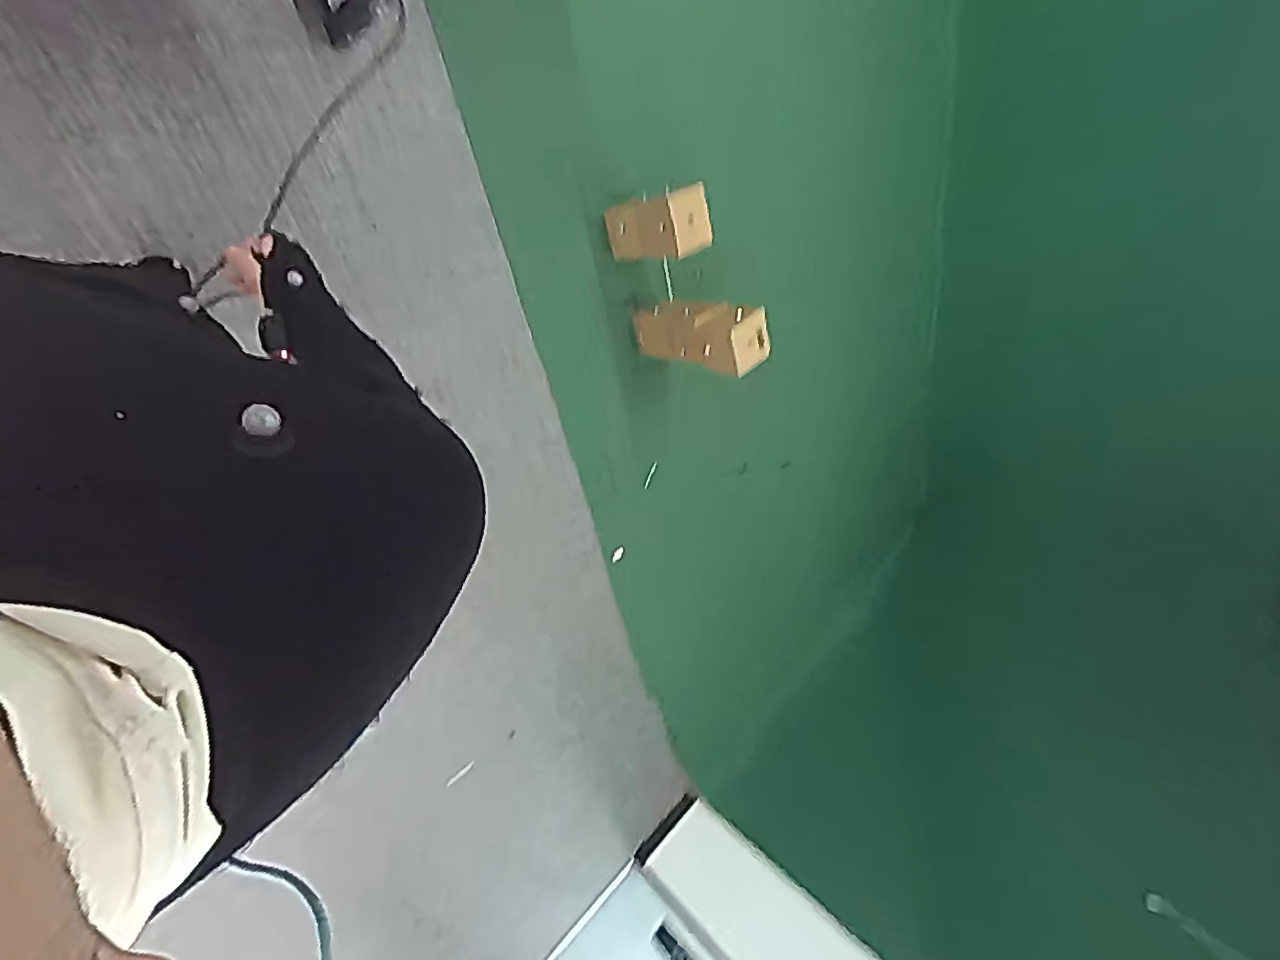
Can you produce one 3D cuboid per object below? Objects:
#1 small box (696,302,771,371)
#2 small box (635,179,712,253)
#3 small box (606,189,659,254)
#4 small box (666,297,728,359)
[{"bbox_3d":[0.322,-0.499,1.856,0.179,0.176,0.168,-39,128,-24],"label":"small box"},{"bbox_3d":[0.107,-0.855,1.760,0.168,0.176,0.179,-36,126,-29],"label":"small box"},{"bbox_3d":[0.003,-0.896,1.880,0.179,0.176,0.168,-36,126,-29],"label":"small box"},{"bbox_3d":[0.213,-0.555,1.964,0.179,0.176,0.168,-35,127,-28],"label":"small box"}]
